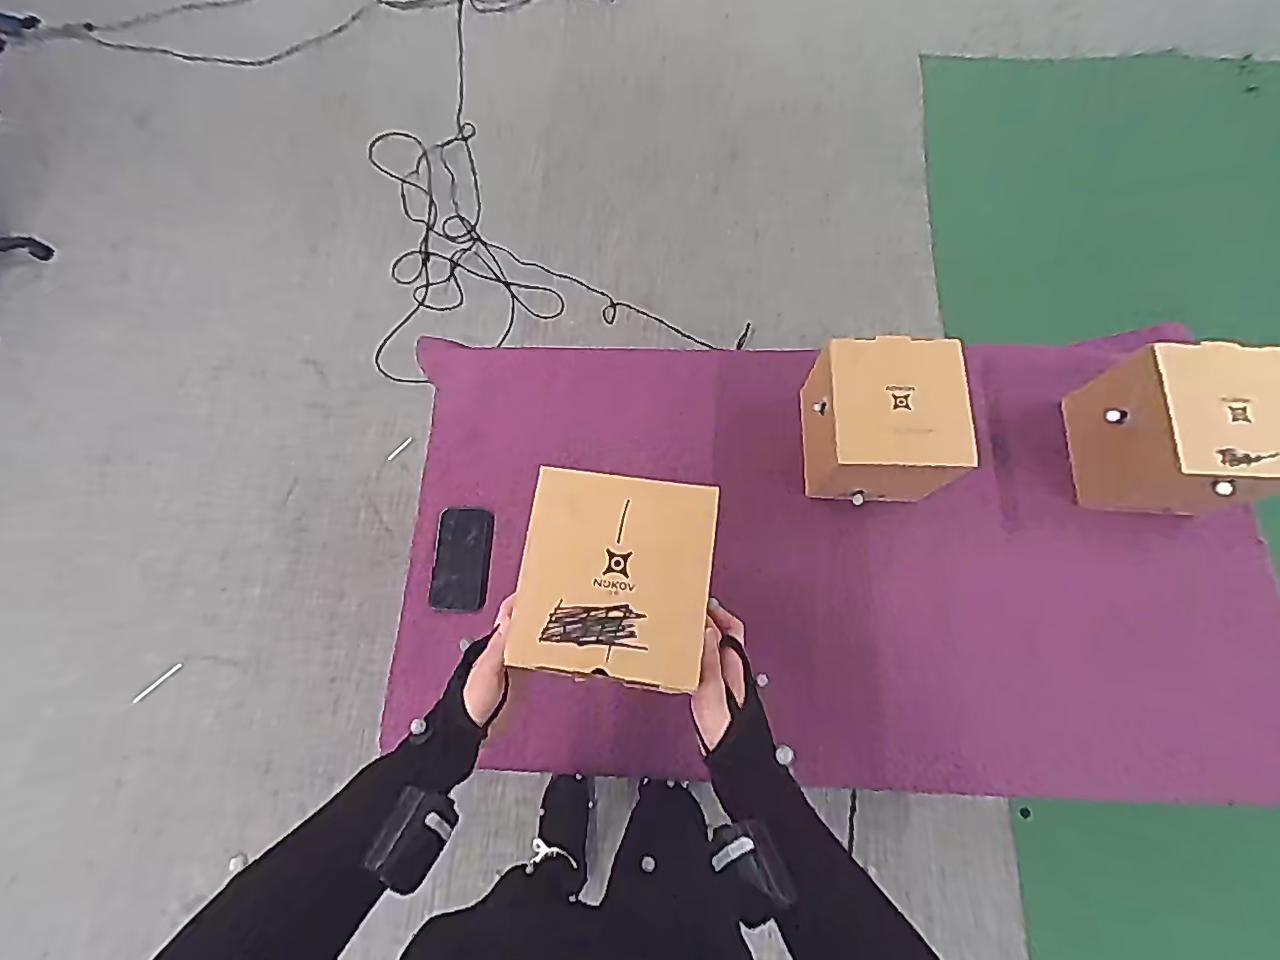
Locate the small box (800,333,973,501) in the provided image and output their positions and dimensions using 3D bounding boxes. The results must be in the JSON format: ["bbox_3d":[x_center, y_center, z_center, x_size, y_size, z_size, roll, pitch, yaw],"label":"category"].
[{"bbox_3d":[0.320,-0.080,0.742,0.168,0.176,0.179,2,73,4],"label":"small box"}]

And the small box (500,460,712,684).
[{"bbox_3d":[-0.022,0.094,0.545,0.168,0.176,0.179,7,75,5],"label":"small box"}]

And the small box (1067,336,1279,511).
[{"bbox_3d":[0.710,-0.068,0.714,0.168,0.176,0.179,2,72,5],"label":"small box"}]
